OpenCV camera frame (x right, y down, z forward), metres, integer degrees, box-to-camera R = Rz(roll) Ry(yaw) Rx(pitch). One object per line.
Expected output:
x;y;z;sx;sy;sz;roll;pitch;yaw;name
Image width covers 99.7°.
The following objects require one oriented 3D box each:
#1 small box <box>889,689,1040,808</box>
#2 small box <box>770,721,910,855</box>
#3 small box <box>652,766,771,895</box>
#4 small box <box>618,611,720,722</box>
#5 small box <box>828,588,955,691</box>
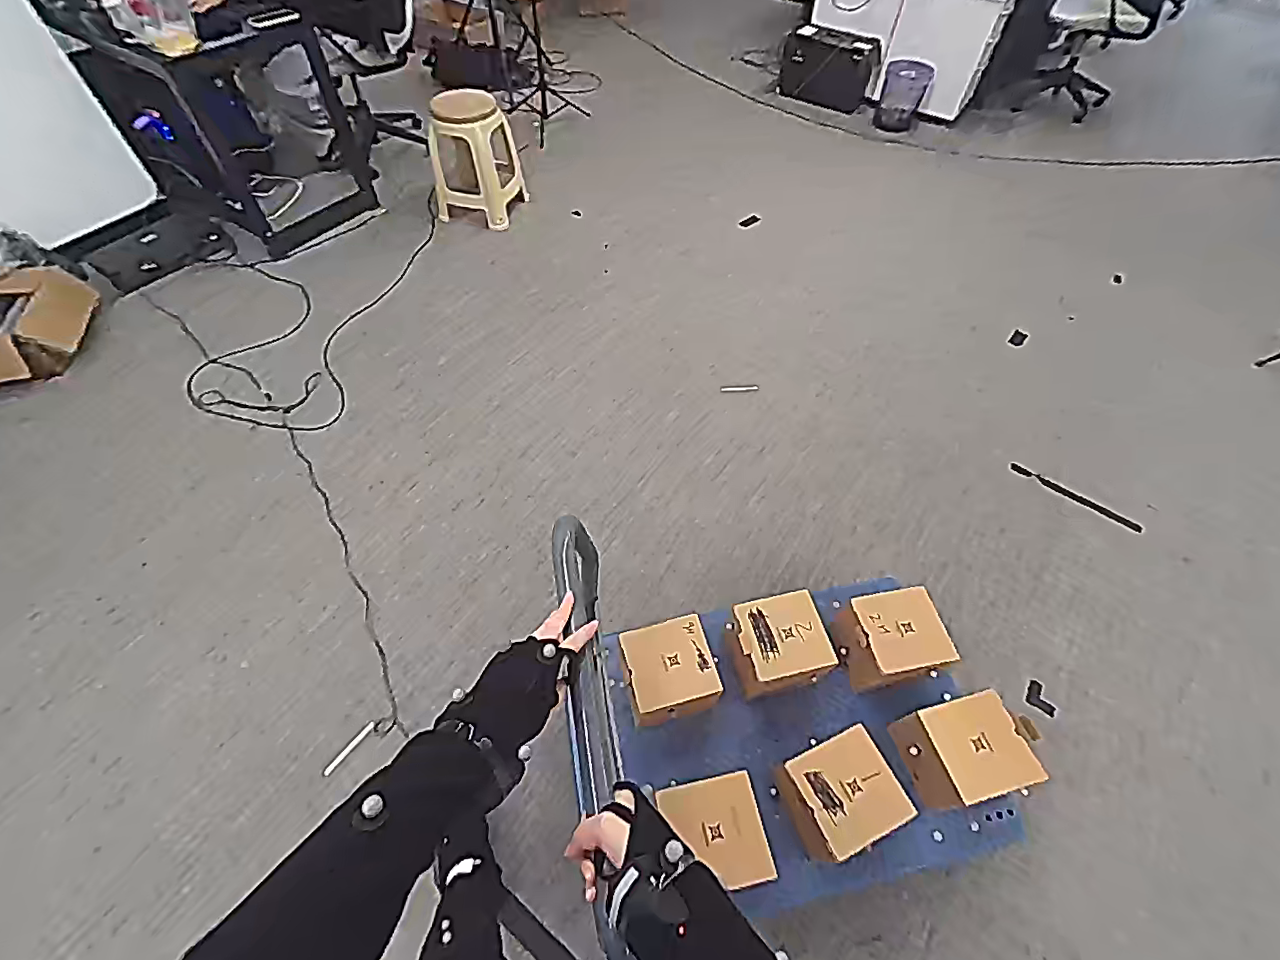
0.633;0.543;1.088;0.179;0.176;0.168;-11;56;-9;small box
0.369;0.597;1.043;0.179;0.176;0.168;-19;58;-15;small box
0.120;0.648;1.002;0.179;0.176;0.168;-8;57;-8;small box
0.056;0.405;1.164;0.179;0.176;0.168;-12;58;-9;small box
0.551;0.359;1.210;0.179;0.176;0.168;-8;56;-6;small box
